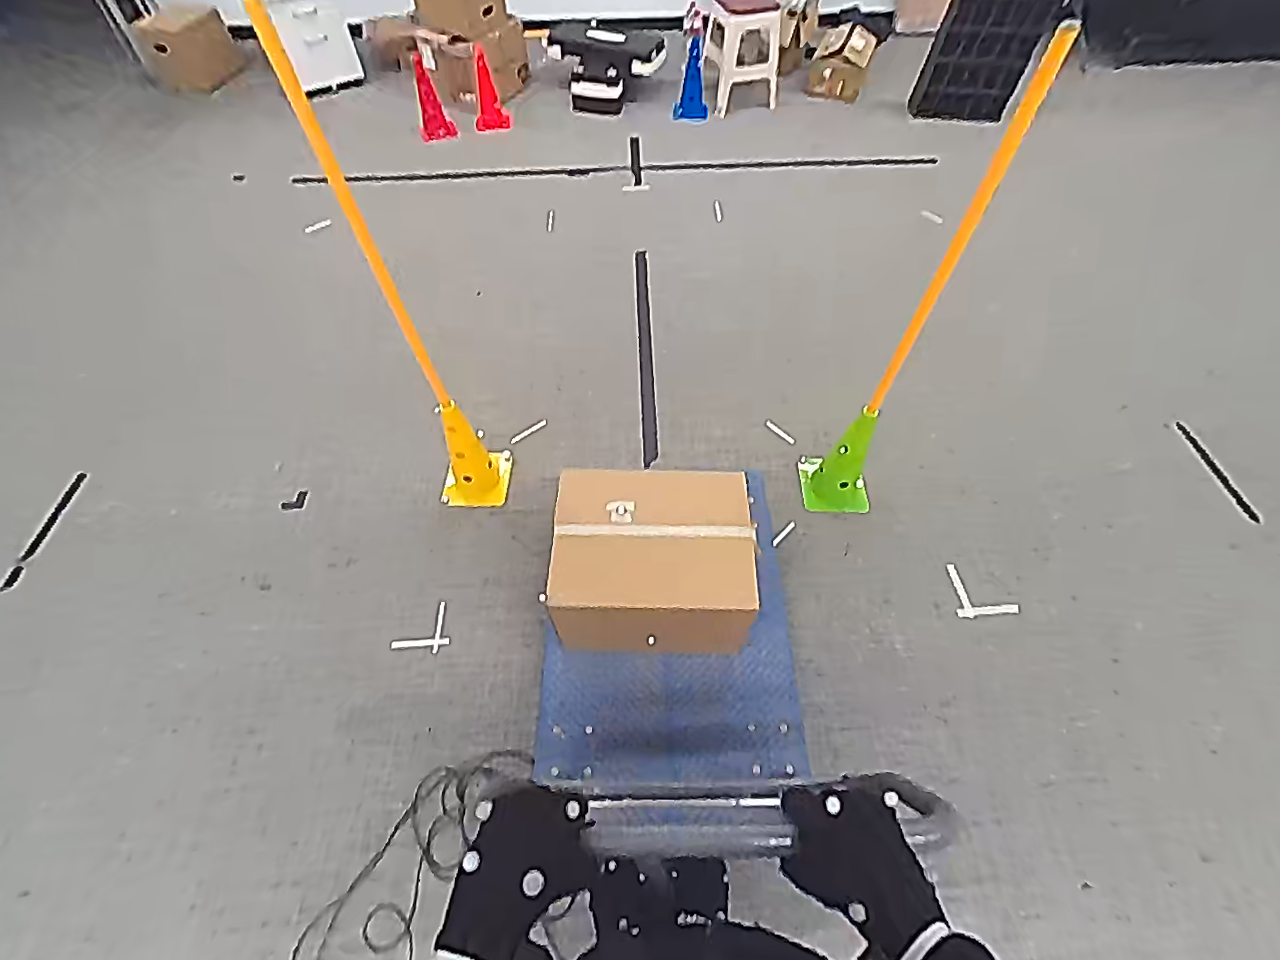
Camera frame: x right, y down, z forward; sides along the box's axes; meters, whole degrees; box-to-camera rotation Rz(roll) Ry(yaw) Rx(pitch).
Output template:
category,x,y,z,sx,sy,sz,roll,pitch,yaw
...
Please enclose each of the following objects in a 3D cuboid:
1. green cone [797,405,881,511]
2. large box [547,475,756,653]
category,x,y,z,sx,sy,sz,roll,pitch,yaw
green cone,0.614,-0.083,1.584,0.202,0.368,0.200,2,56,0
large box,0.027,0.200,1.224,0.408,0.320,0.320,0,56,1
